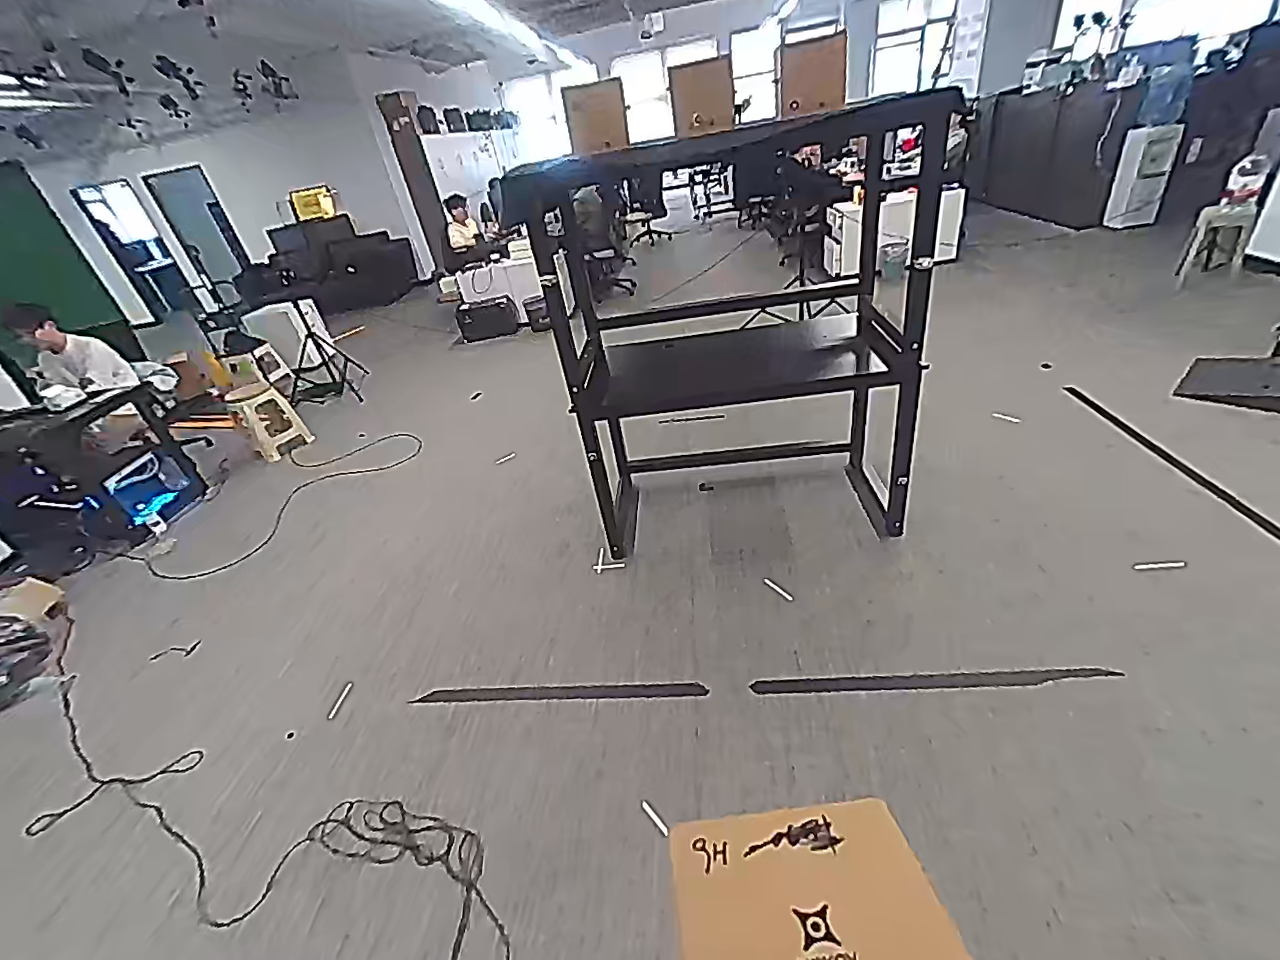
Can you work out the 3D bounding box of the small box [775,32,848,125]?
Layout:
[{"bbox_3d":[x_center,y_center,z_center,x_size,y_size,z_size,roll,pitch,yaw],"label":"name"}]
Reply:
[{"bbox_3d":[0.458,-1.070,1.453,0.168,0.176,0.179,-5,32,10],"label":"small box"}]

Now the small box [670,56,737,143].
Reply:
[{"bbox_3d":[0.178,-1.038,1.488,0.168,0.176,0.179,-5,32,11],"label":"small box"}]

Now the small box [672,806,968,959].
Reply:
[{"bbox_3d":[0.115,0.357,0.351,0.168,0.176,0.179,-5,22,-3],"label":"small box"}]
